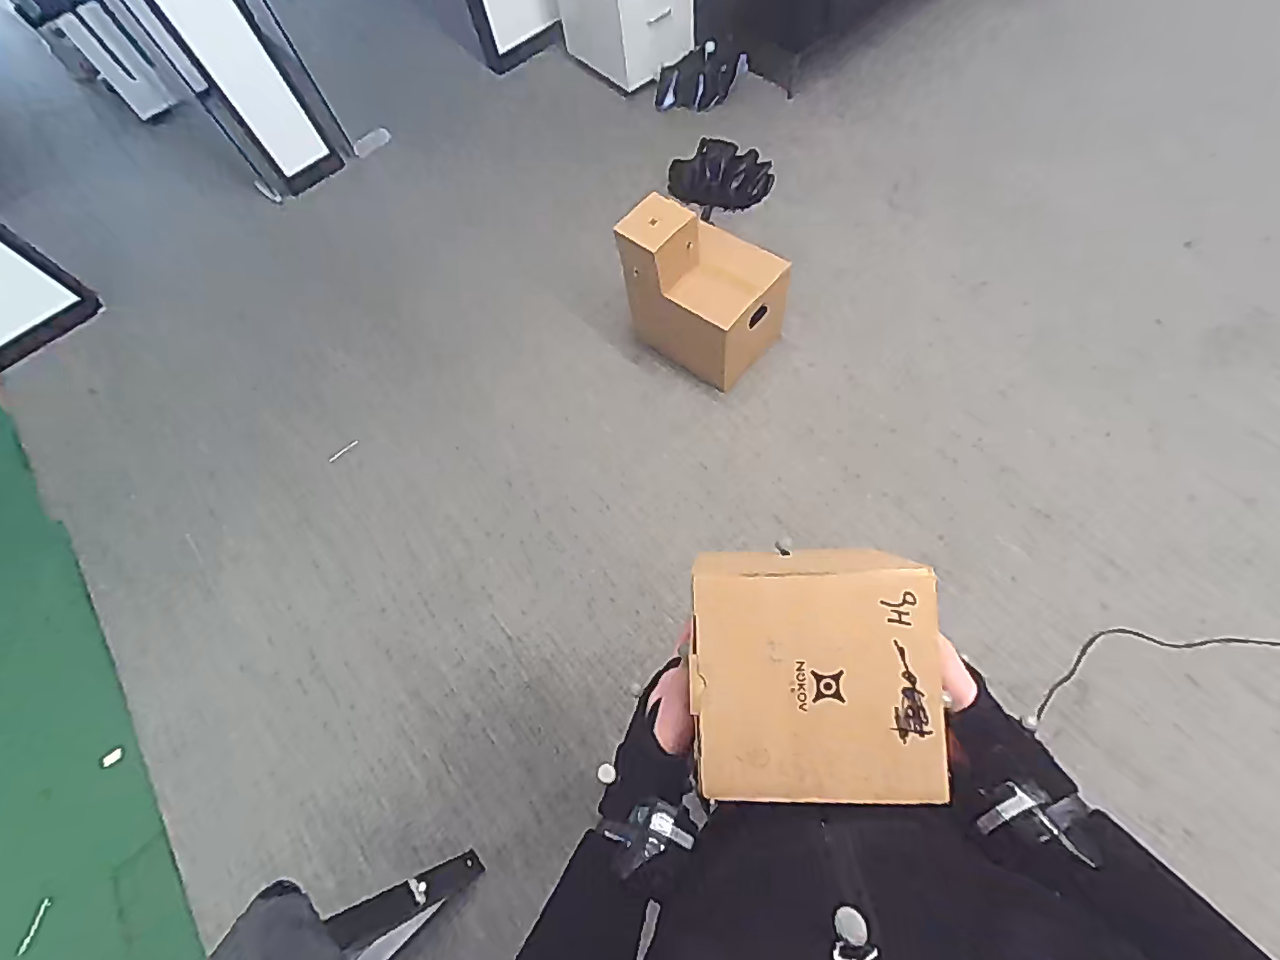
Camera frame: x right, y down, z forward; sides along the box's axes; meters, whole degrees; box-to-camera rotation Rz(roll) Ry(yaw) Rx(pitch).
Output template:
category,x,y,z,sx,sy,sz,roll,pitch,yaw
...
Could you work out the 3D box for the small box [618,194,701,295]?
category,x,y,z,sx,sy,sz,roll,pitch,yaw
small box,0.063,-0.681,1.573,0.168,0.176,0.179,39,80,23
